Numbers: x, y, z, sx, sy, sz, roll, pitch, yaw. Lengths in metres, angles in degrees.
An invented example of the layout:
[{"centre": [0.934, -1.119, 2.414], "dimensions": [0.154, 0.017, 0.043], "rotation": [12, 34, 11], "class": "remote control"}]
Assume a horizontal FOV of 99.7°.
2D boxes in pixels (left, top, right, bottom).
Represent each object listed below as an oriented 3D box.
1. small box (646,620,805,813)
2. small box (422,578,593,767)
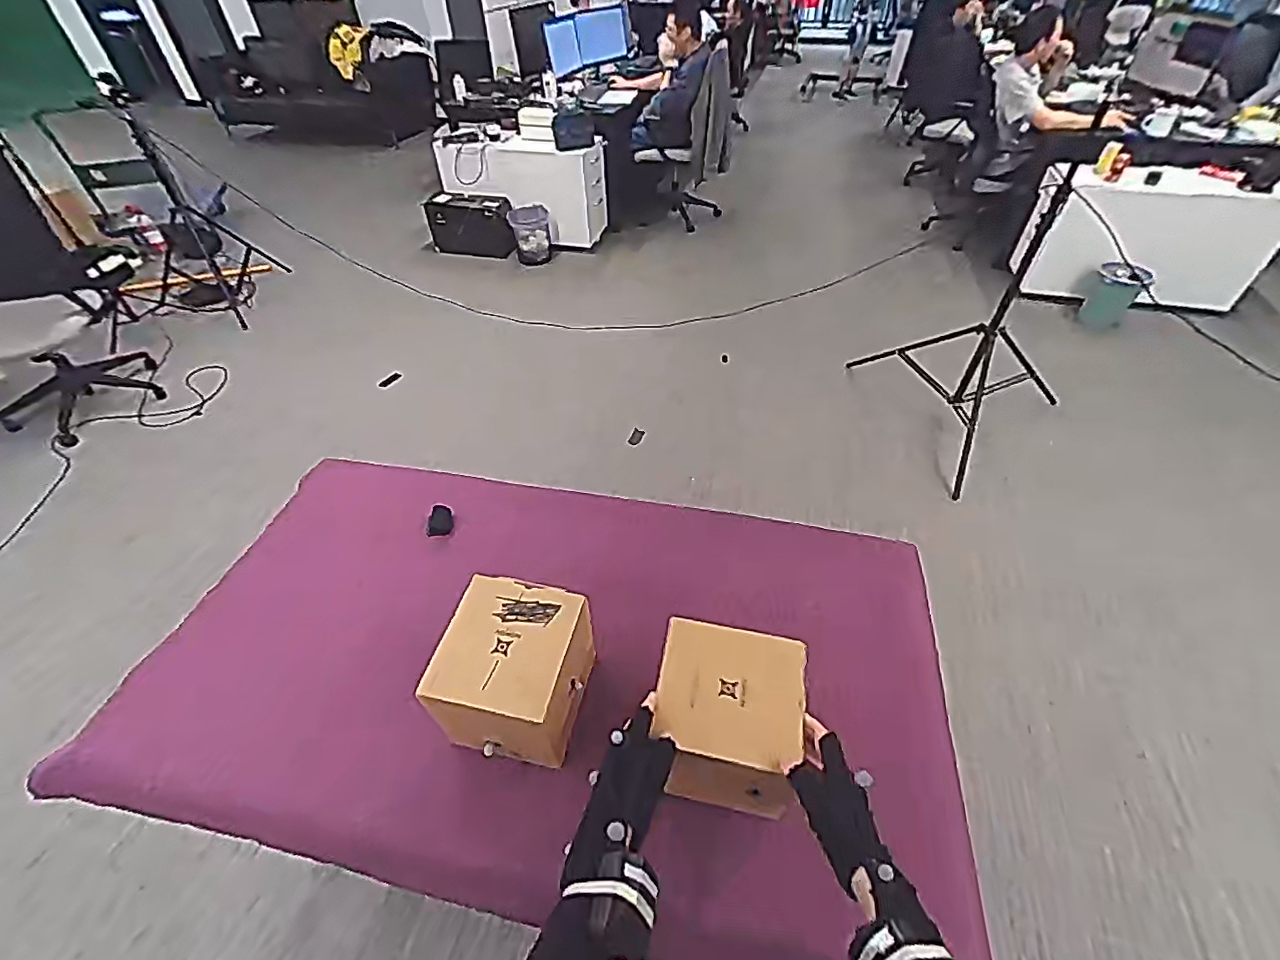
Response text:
[{"centre": [0.109, 0.309, 0.703], "dimensions": [0.179, 0.176, 0.168], "rotation": [6, 44, 10], "class": "small box"}, {"centre": [-0.167, 0.266, 0.751], "dimensions": [0.168, 0.176, 0.179], "rotation": [8, 47, 10], "class": "small box"}]
